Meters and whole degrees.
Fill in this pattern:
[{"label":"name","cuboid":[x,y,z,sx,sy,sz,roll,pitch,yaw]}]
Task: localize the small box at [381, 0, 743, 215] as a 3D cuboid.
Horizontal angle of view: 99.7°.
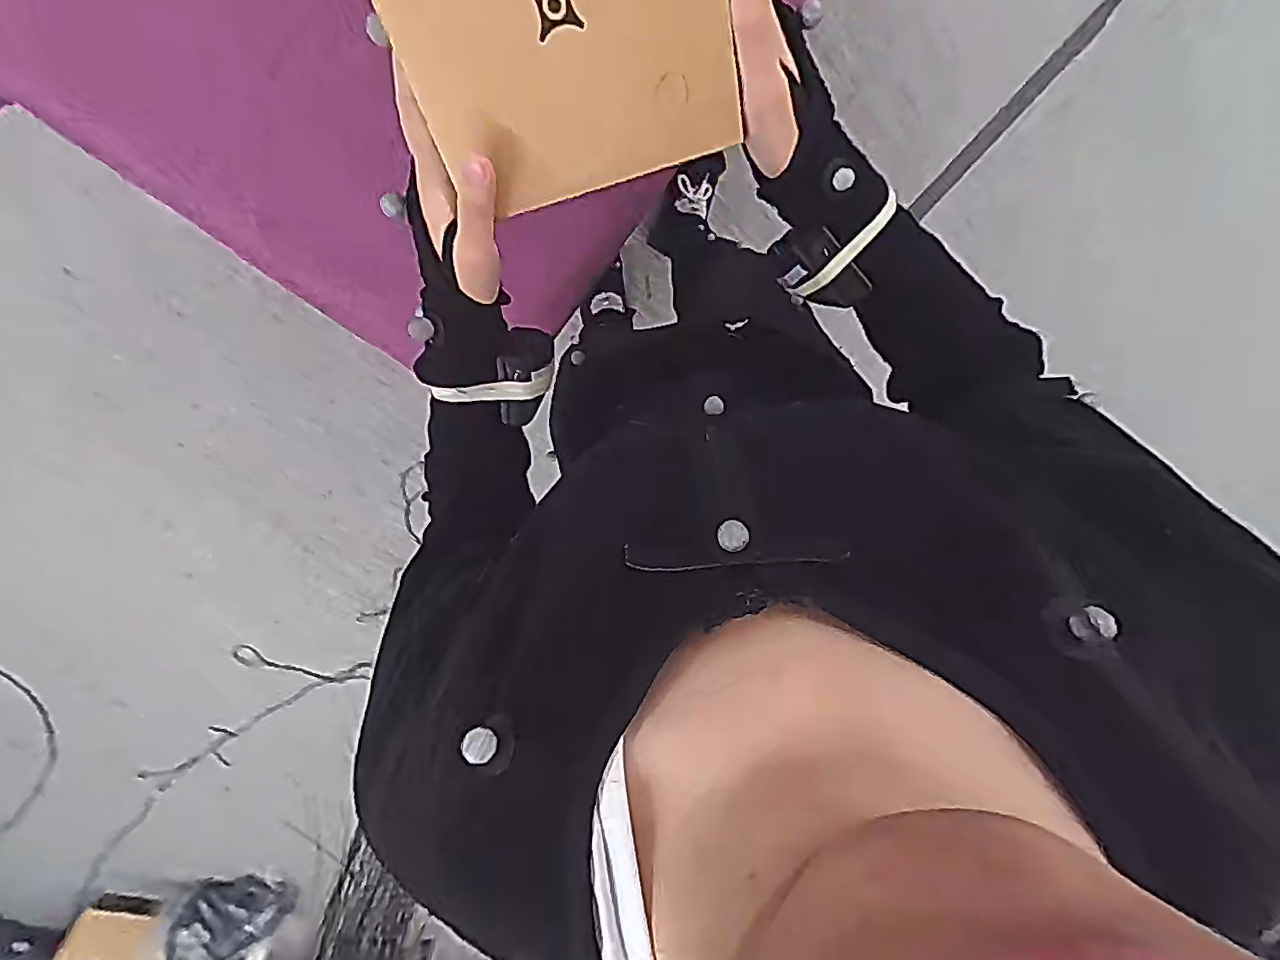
[{"label":"small box","cuboid":[-0.046,-0.287,0.313,0.168,0.176,0.179,-14,131,6]}]
